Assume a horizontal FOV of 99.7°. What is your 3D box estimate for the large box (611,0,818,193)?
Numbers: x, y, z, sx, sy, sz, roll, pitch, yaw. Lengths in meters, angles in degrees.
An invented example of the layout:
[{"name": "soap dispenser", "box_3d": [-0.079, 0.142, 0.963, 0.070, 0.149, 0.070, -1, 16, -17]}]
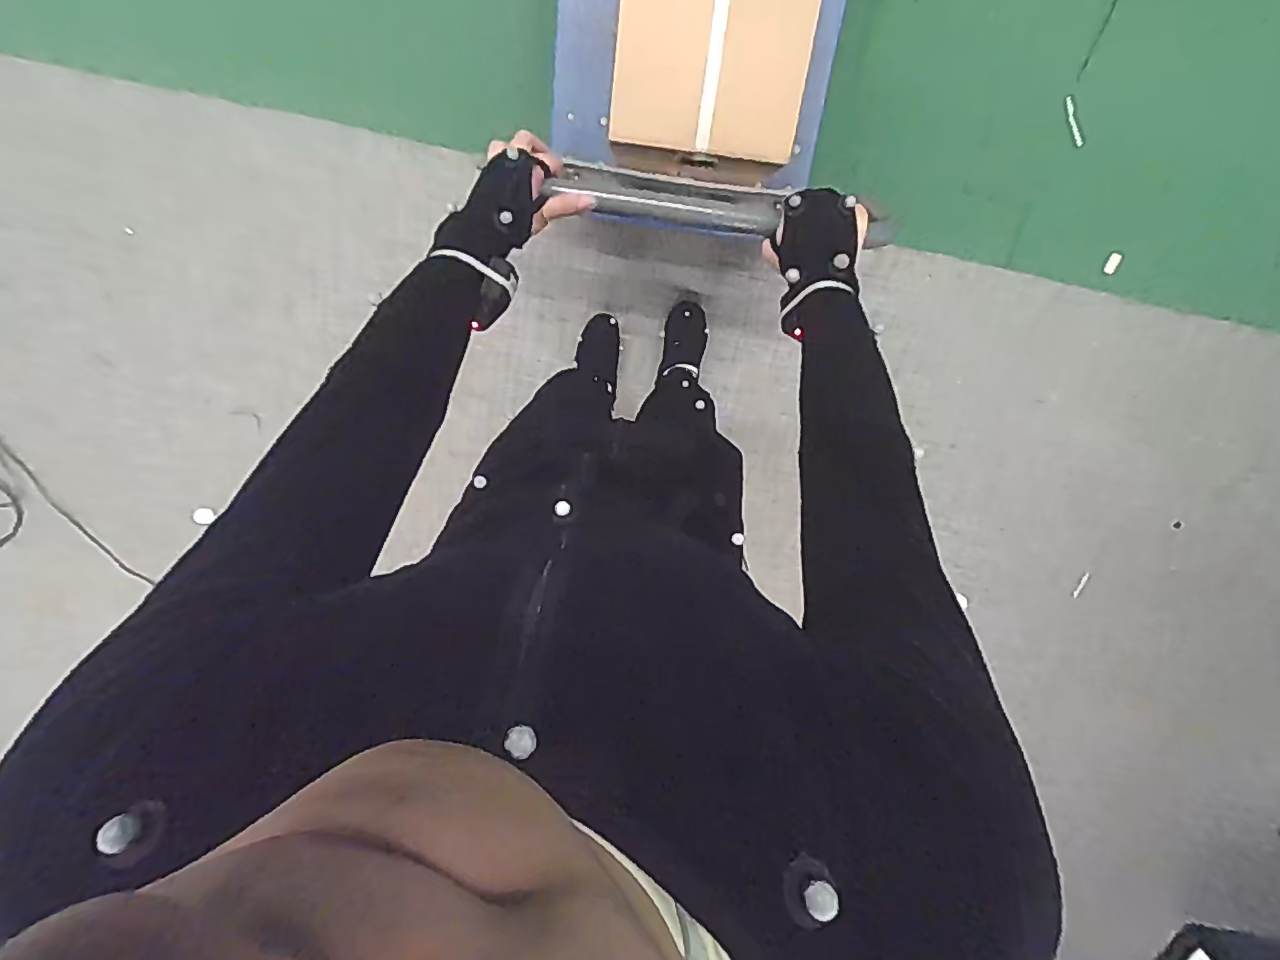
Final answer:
[{"name": "large box", "box_3d": [0.128, -0.787, 1.001, 0.320, 0.320, 0.408, 7, 111, -2]}]
